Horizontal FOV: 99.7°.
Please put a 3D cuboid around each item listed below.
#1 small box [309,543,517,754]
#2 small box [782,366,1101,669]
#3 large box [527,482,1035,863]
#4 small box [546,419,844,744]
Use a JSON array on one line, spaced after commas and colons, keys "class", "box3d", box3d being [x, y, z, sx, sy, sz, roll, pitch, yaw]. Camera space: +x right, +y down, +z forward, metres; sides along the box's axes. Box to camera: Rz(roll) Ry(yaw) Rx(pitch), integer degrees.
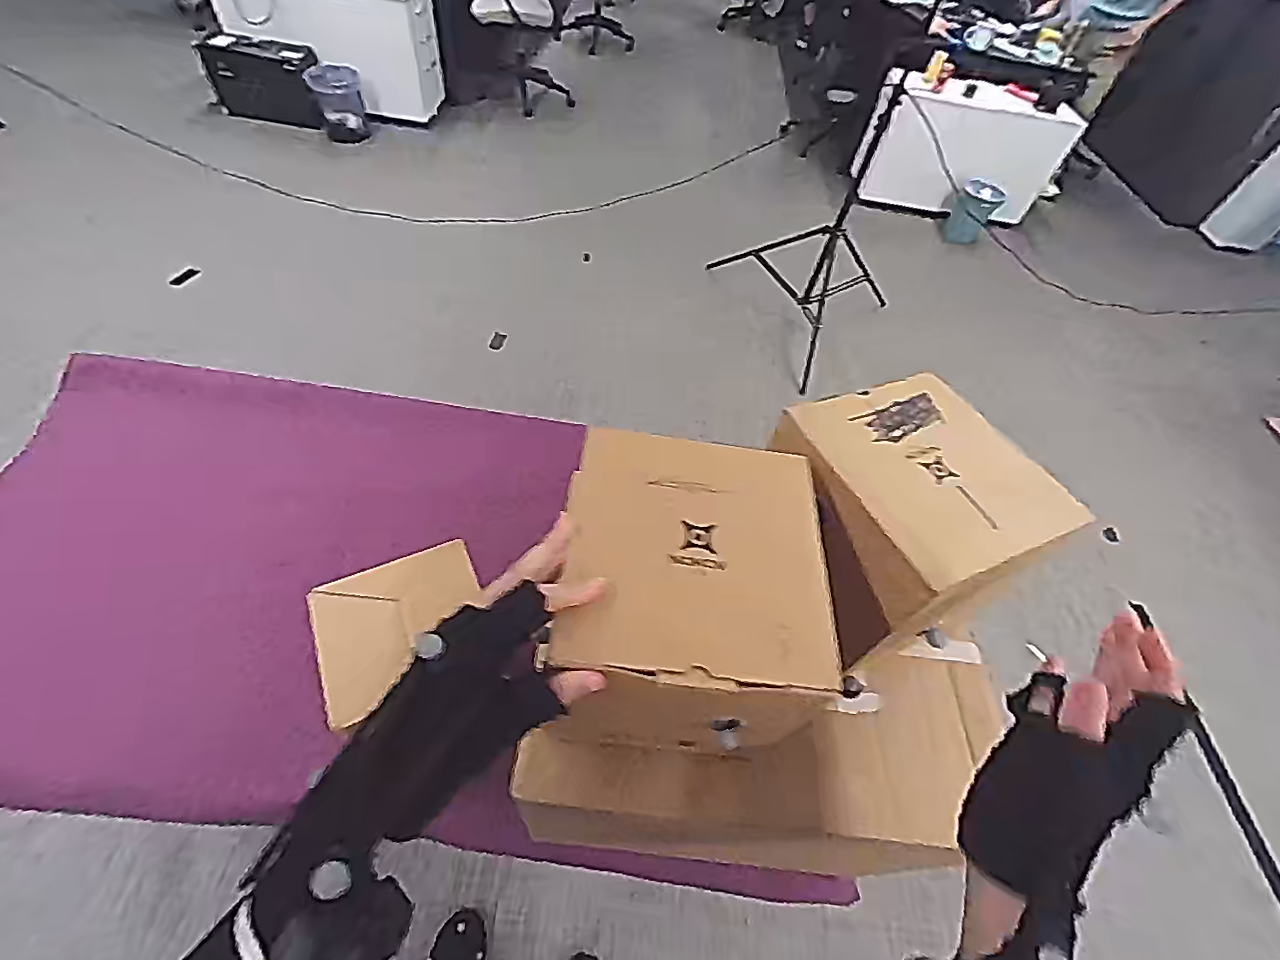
[{"class": "small box", "box3d": [-0.265, 0.199, 0.656, 0.179, 0.176, 0.168, -19, 57, -20]}, {"class": "small box", "box3d": [0.215, 0.031, 0.468, 0.168, 0.176, 0.179, -15, 54, -20]}, {"class": "large box", "box3d": [0.100, 0.226, 0.612, 0.408, 0.320, 0.320, 7, 52, -3]}, {"class": "small box", "box3d": [0.027, 0.083, 0.403, 0.168, 0.176, 0.179, 8, 51, -4]}]
